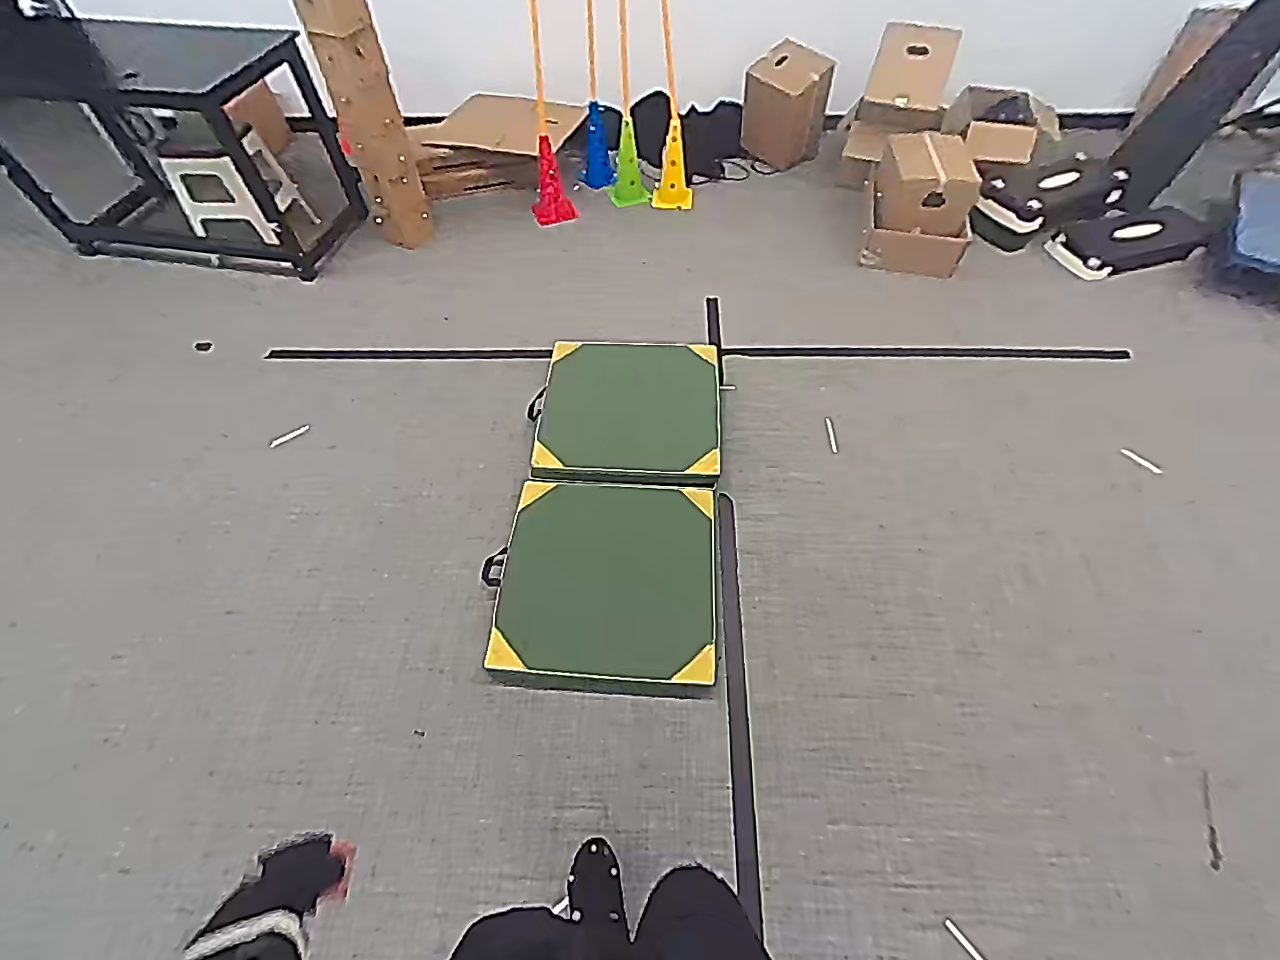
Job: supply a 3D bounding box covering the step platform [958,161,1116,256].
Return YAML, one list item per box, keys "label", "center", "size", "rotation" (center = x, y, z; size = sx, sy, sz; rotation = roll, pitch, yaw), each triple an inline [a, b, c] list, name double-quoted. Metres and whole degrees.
- label: "step platform"
  center: [1.878, -1.292, 2.558]
  size: [0.684, 0.204, 0.286]
  rotation: [-23, 59, -15]
